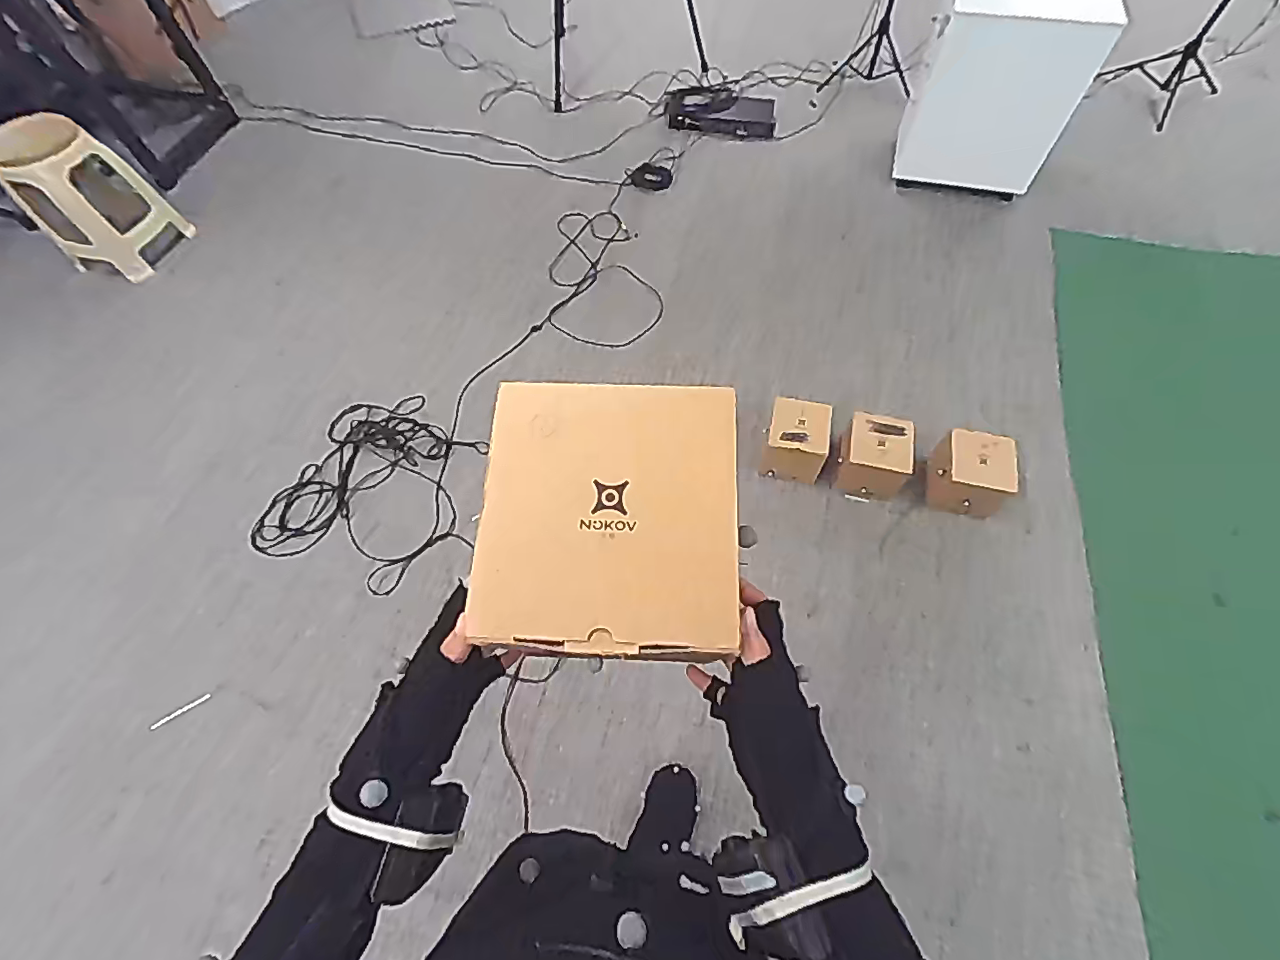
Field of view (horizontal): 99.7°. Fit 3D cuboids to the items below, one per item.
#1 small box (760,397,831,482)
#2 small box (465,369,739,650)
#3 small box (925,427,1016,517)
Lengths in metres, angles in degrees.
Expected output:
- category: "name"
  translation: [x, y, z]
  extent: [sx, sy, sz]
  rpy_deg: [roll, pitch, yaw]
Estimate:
- category: "small box"
  translation: [0.451, -0.114, 1.584]
  extent: [0.168, 0.176, 0.179]
  rpy_deg: [11, 61, 9]
- category: "small box"
  translation: [-0.018, 0.034, 0.421]
  extent: [0.168, 0.176, 0.179]
  rpy_deg: [1, 70, 2]
- category: "small box"
  translation: [0.916, -0.017, 1.510]
  extent: [0.168, 0.176, 0.179]
  rpy_deg: [12, 62, 9]
